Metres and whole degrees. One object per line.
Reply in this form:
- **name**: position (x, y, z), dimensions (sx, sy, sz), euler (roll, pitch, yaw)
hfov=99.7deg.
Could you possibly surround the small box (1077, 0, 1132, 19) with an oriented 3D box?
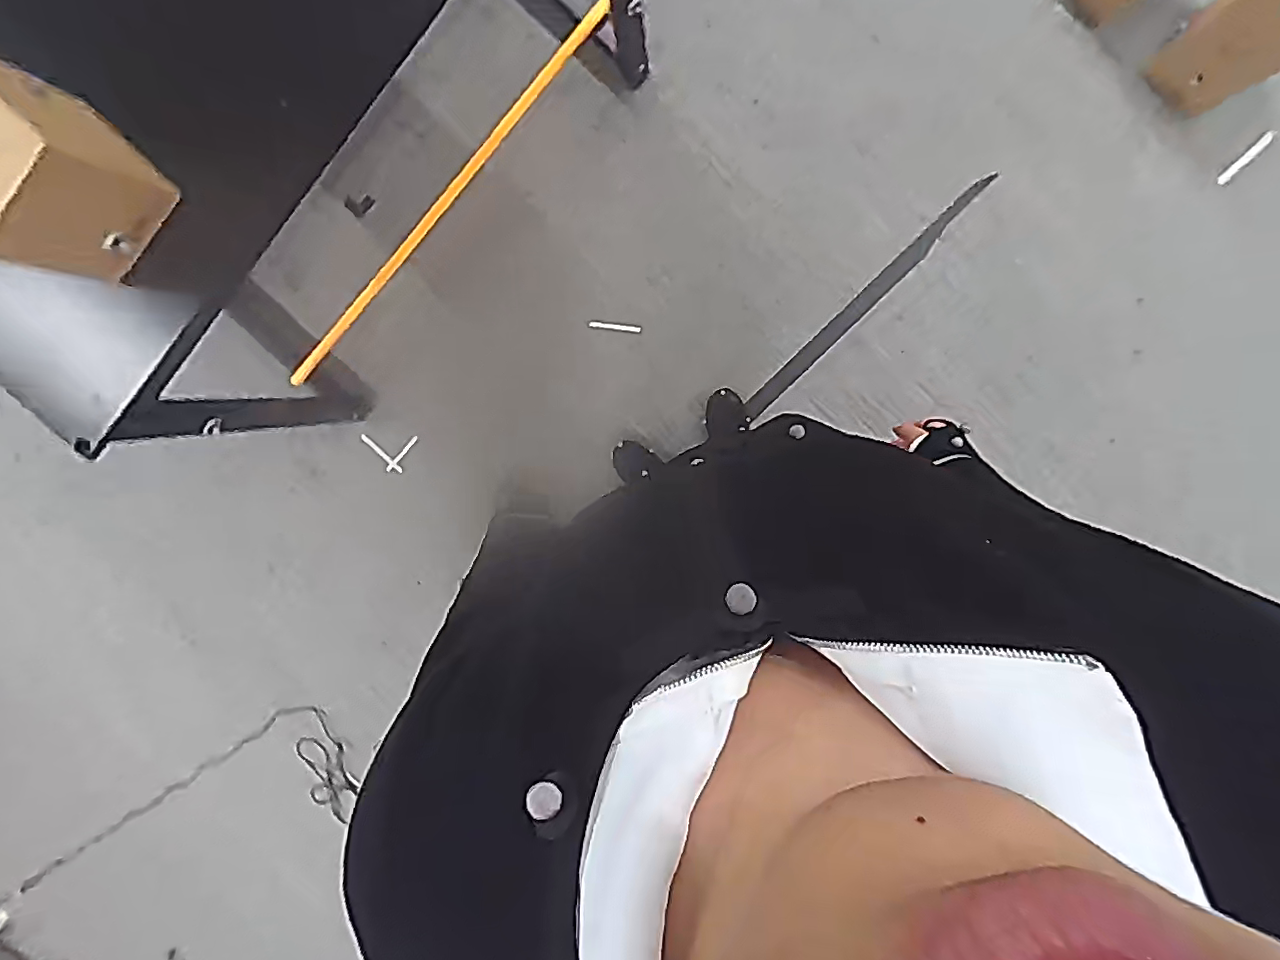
- **small box**: position (1.055, -1.147, 1.153), dimensions (0.179, 0.176, 0.168), euler (45, 99, -3)

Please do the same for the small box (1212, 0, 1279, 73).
- **small box**: position (1.259, -0.924, 1.010), dimensions (0.179, 0.176, 0.168), euler (41, 100, -4)

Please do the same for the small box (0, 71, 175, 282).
- **small box**: position (-0.750, -0.372, 0.667), dimensions (0.179, 0.176, 0.168), euler (43, 100, -4)

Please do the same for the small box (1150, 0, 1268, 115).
- **small box**: position (1.278, -0.949, 1.173), dimensions (0.168, 0.176, 0.179), euler (41, 100, -3)
